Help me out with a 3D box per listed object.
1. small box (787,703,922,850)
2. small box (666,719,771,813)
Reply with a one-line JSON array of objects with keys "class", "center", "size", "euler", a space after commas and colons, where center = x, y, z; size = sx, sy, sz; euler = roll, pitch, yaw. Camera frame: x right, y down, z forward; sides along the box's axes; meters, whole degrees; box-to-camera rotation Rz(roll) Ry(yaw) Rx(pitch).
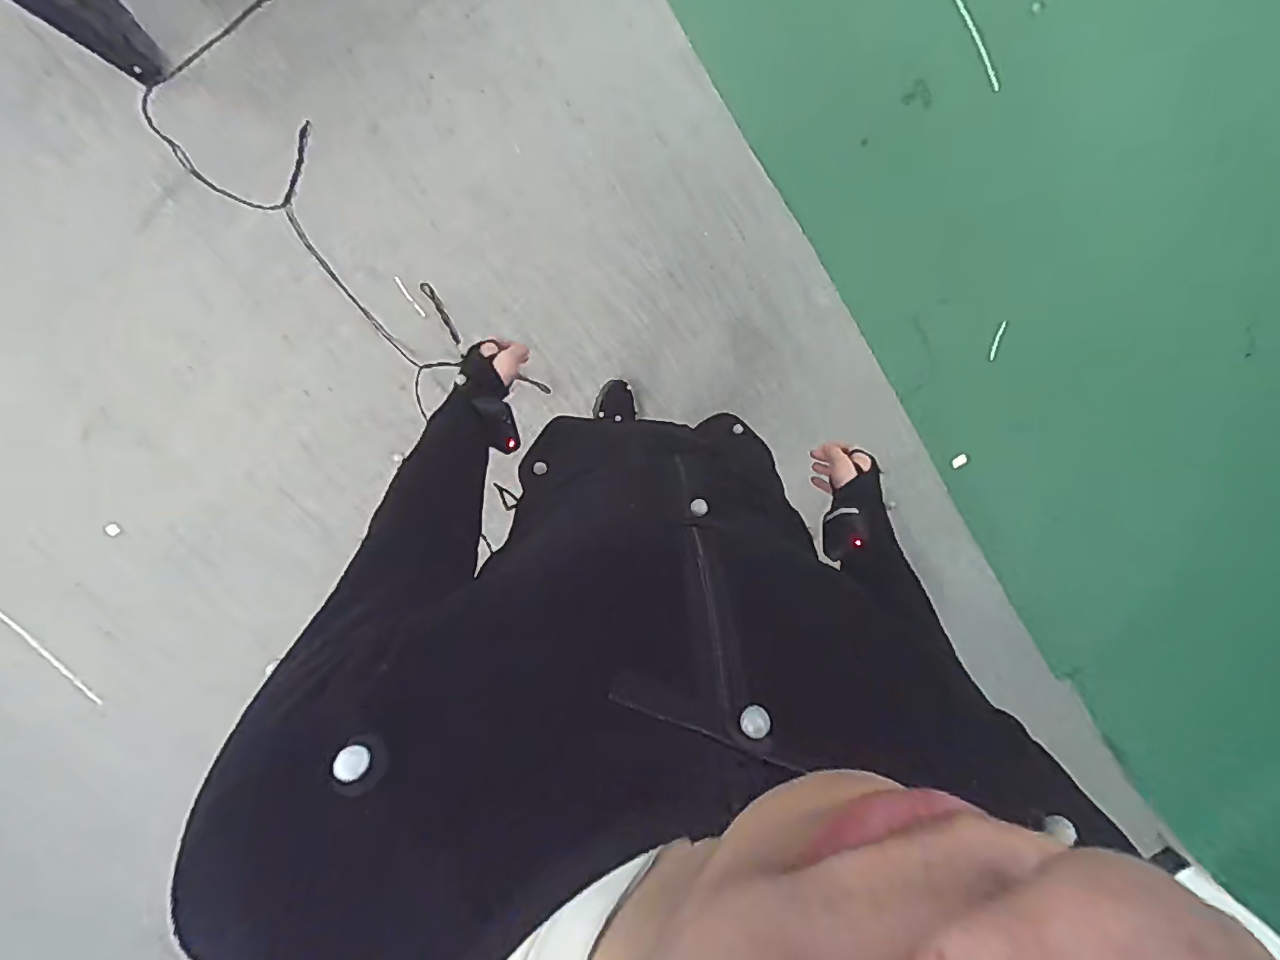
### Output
[{"class": "small box", "center": [0.423, 0.585, 1.096], "size": [0.168, 0.176, 0.179], "euler": [-29, 101, 2]}, {"class": "small box", "center": [0.175, 0.695, 1.268], "size": [0.168, 0.176, 0.179], "euler": [-30, 102, 1]}]
